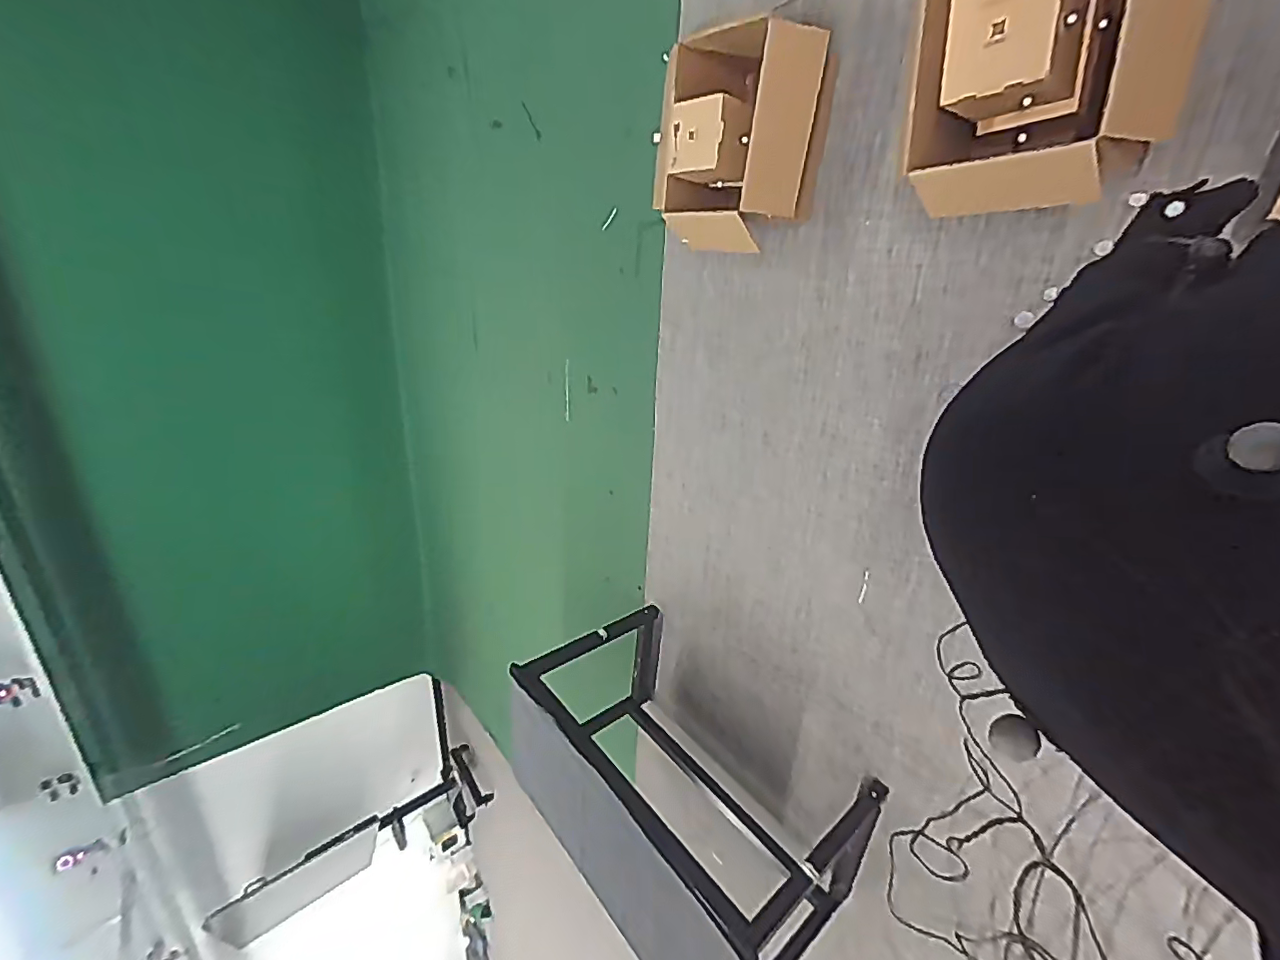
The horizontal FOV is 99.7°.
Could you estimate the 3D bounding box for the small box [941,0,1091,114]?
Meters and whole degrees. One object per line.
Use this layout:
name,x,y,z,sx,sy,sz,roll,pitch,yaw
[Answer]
small box,0.655,-0.764,0.944,0.168,0.176,0.179,17,116,46
